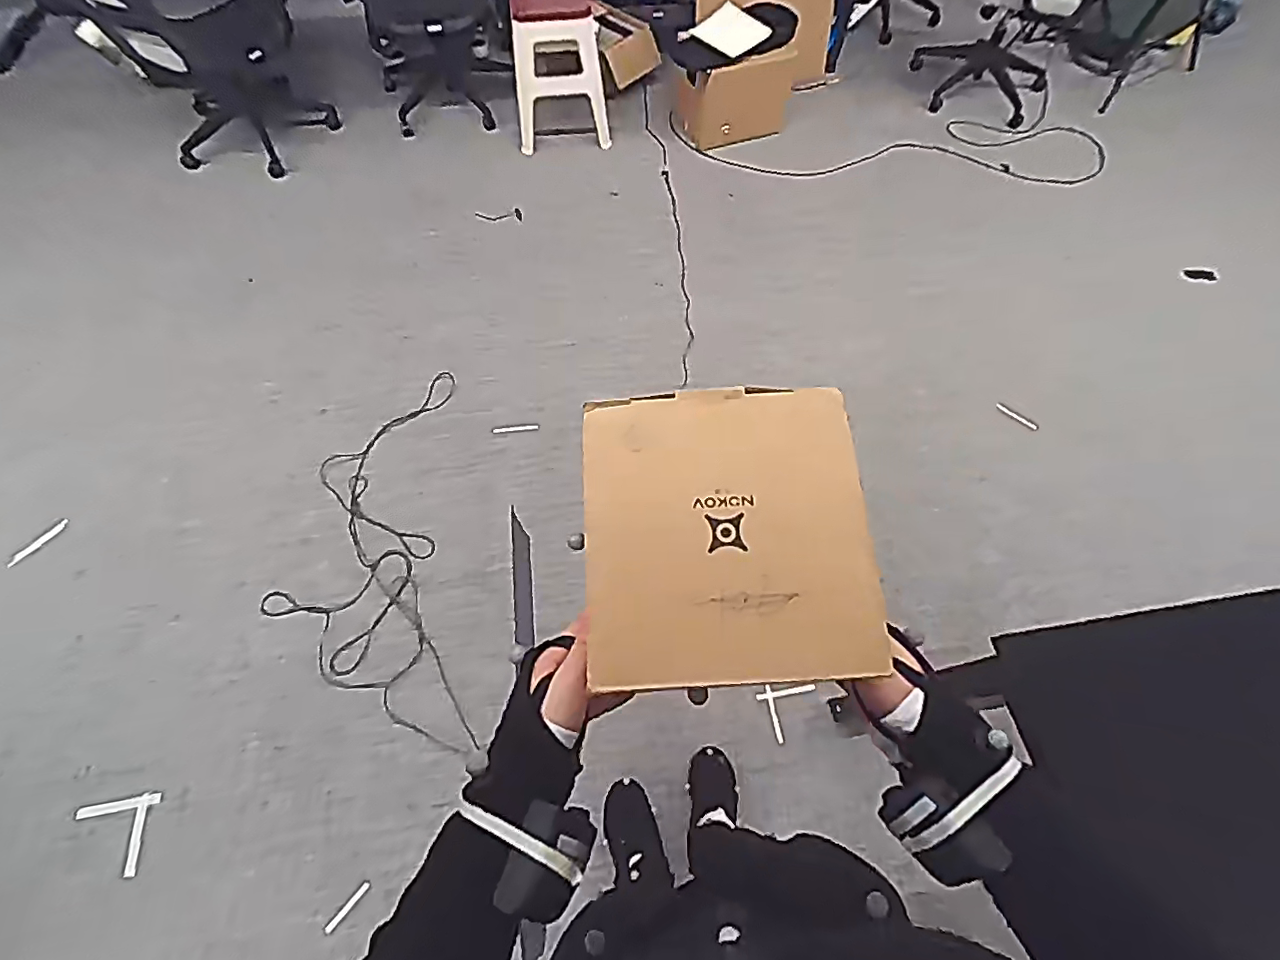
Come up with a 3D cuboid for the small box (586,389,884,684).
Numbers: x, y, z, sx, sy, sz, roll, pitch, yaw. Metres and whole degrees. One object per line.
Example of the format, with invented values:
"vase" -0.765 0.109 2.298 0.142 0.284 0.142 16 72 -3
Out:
"small box" 0.049 0.052 0.395 0.168 0.176 0.179 -3 72 0
